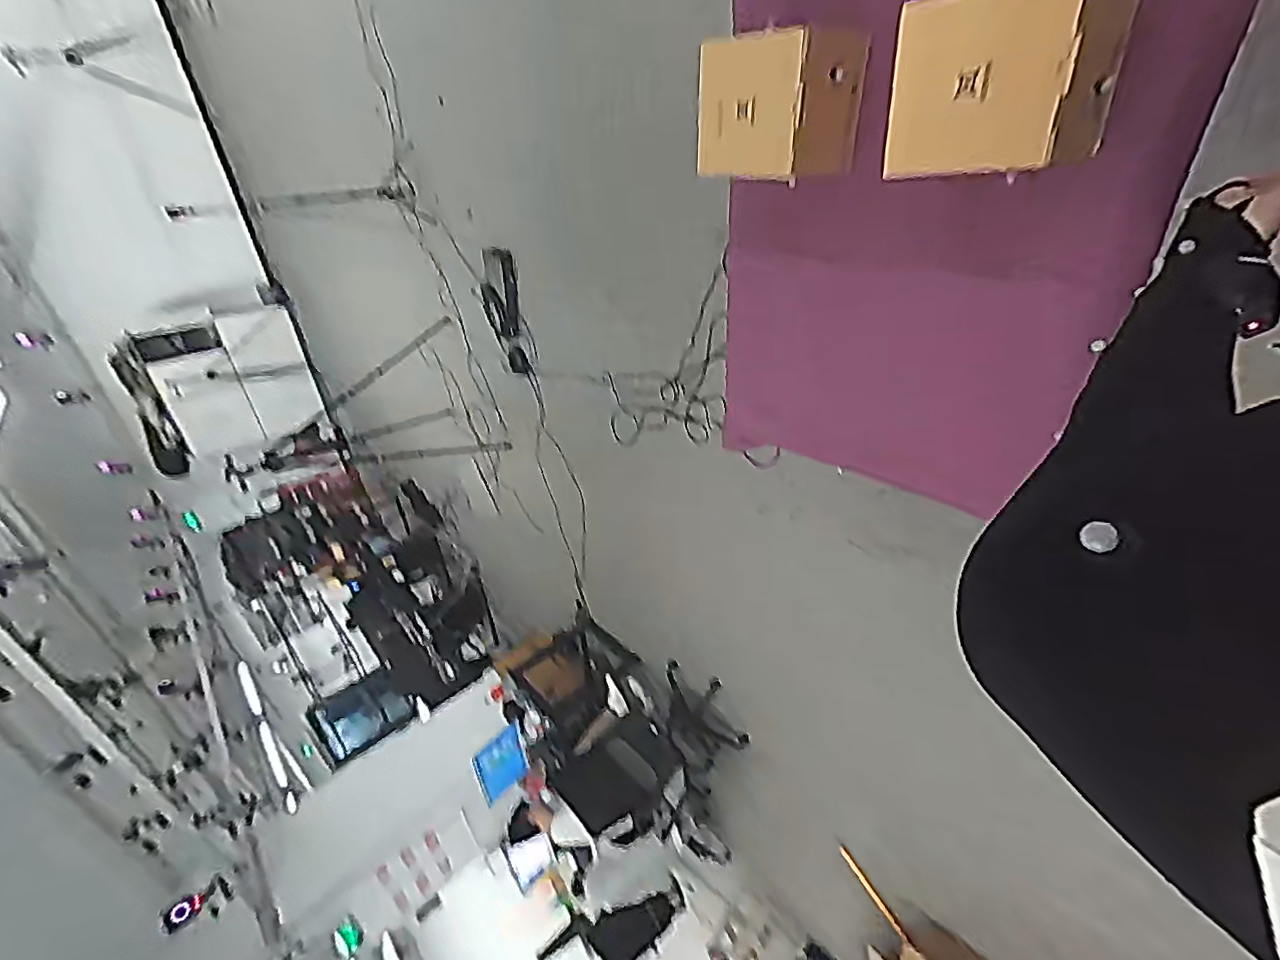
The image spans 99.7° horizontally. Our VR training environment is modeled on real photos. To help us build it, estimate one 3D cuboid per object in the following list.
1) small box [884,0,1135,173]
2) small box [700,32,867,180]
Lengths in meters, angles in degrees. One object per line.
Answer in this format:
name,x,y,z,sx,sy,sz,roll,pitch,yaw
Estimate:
small box,0.413,-0.452,0.619,0.179,0.176,0.168,24,131,43
small box,0.212,-0.555,0.812,0.179,0.176,0.168,29,133,39
